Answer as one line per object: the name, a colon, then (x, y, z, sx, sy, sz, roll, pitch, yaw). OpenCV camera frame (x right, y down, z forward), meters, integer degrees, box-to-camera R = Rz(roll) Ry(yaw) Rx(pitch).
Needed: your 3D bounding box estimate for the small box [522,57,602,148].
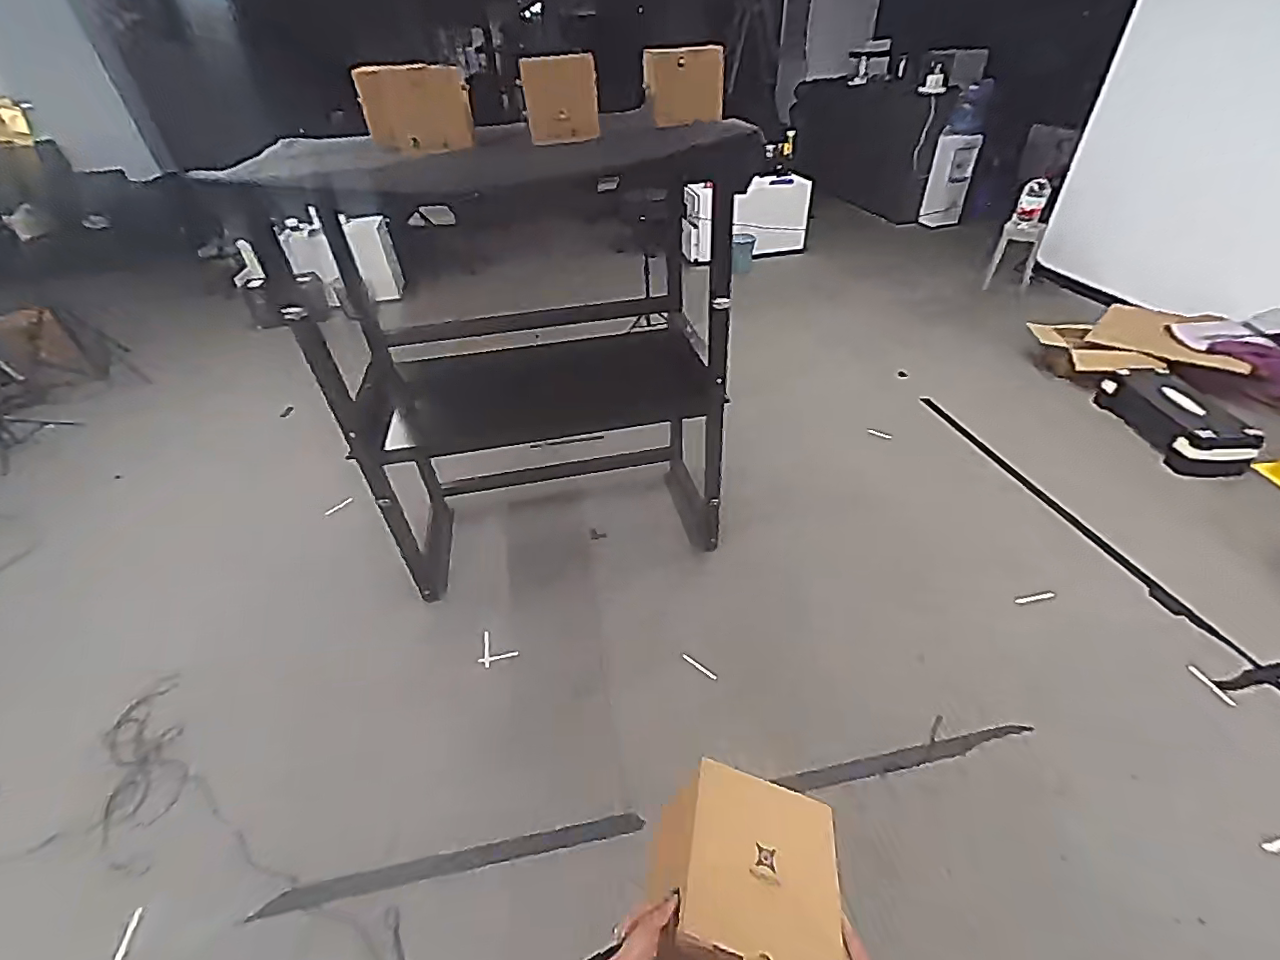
small box: (-0.189, -0.920, 1.321, 0.168, 0.176, 0.179, -9, 38, -5)

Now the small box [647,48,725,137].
small box: (0.111, -0.976, 1.365, 0.168, 0.176, 0.179, -8, 38, -3)

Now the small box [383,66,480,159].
small box: (-0.487, -0.875, 1.293, 0.168, 0.176, 0.179, -8, 38, -6)

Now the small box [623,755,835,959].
small box: (0.092, 0.454, 0.599, 0.168, 0.176, 0.179, 22, 33, -1)
